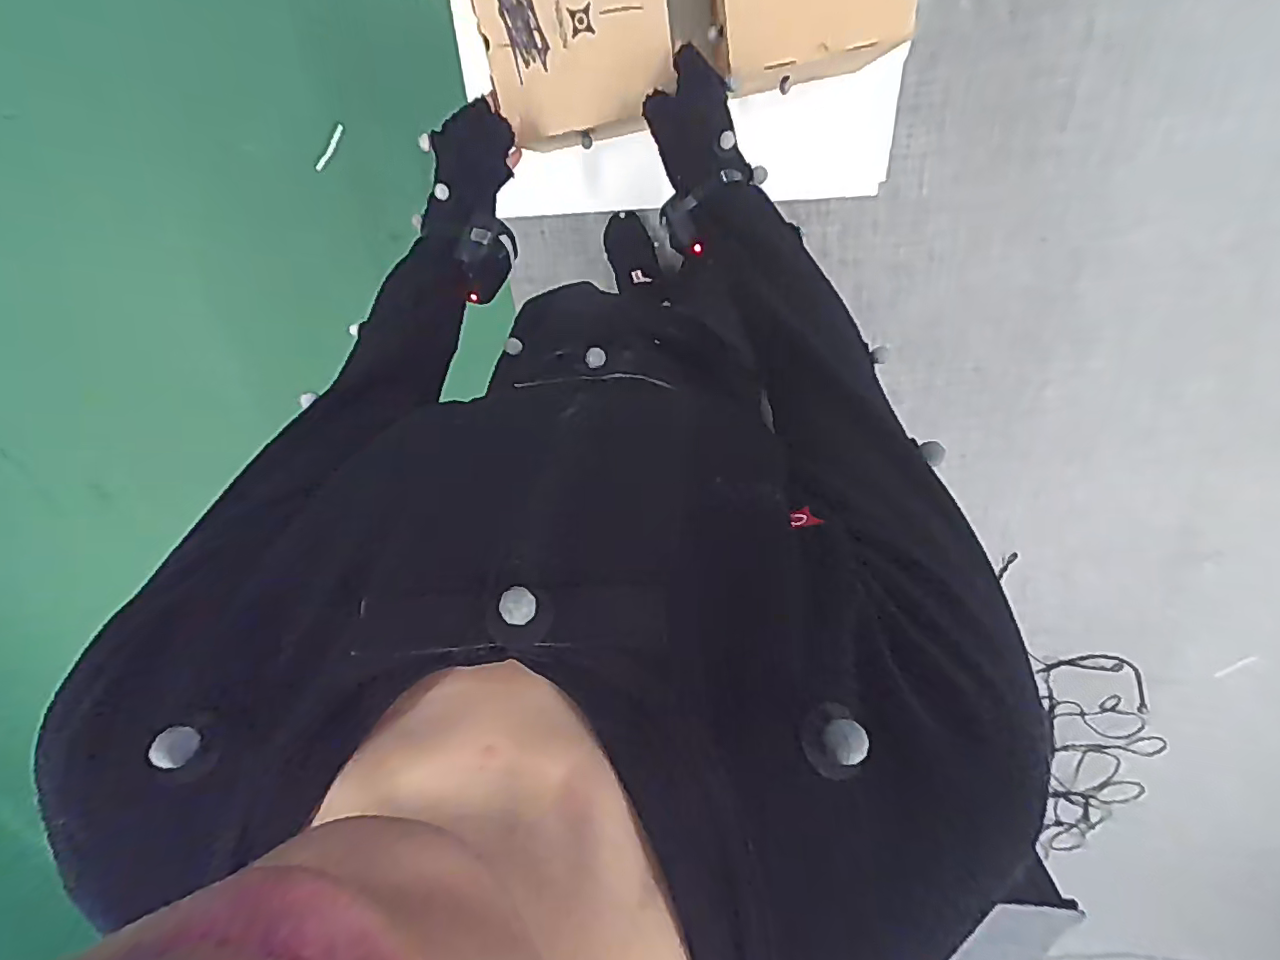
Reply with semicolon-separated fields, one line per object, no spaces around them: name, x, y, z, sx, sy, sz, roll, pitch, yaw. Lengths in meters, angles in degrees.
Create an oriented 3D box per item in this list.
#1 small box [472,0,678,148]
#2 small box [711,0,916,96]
small box;-0.056;-0.455;0.559;0.179;0.176;0.168;-8;119;7
small box;0.155;-0.500;0.522;0.168;0.176;0.179;-7;119;8
